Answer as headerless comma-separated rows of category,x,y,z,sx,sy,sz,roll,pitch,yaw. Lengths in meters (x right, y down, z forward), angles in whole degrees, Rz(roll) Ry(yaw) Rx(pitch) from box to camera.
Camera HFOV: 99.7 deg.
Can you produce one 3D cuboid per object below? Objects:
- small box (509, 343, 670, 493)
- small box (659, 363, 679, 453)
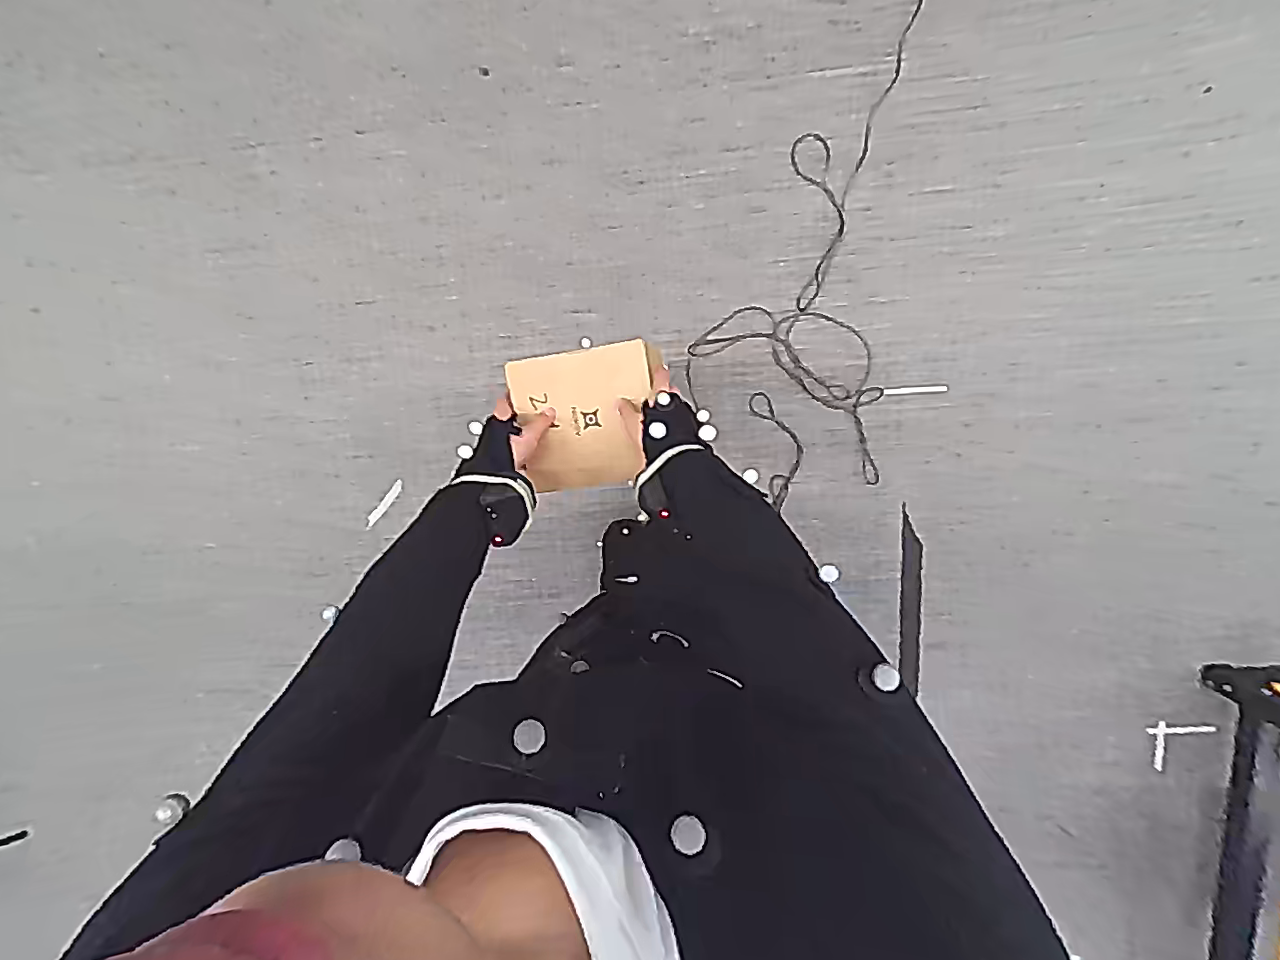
small box,-0.055,-0.087,0.732,0.179,0.176,0.168,-8,98,8
small box,-0.019,-0.136,1.056,0.179,0.176,0.168,-7,99,8
